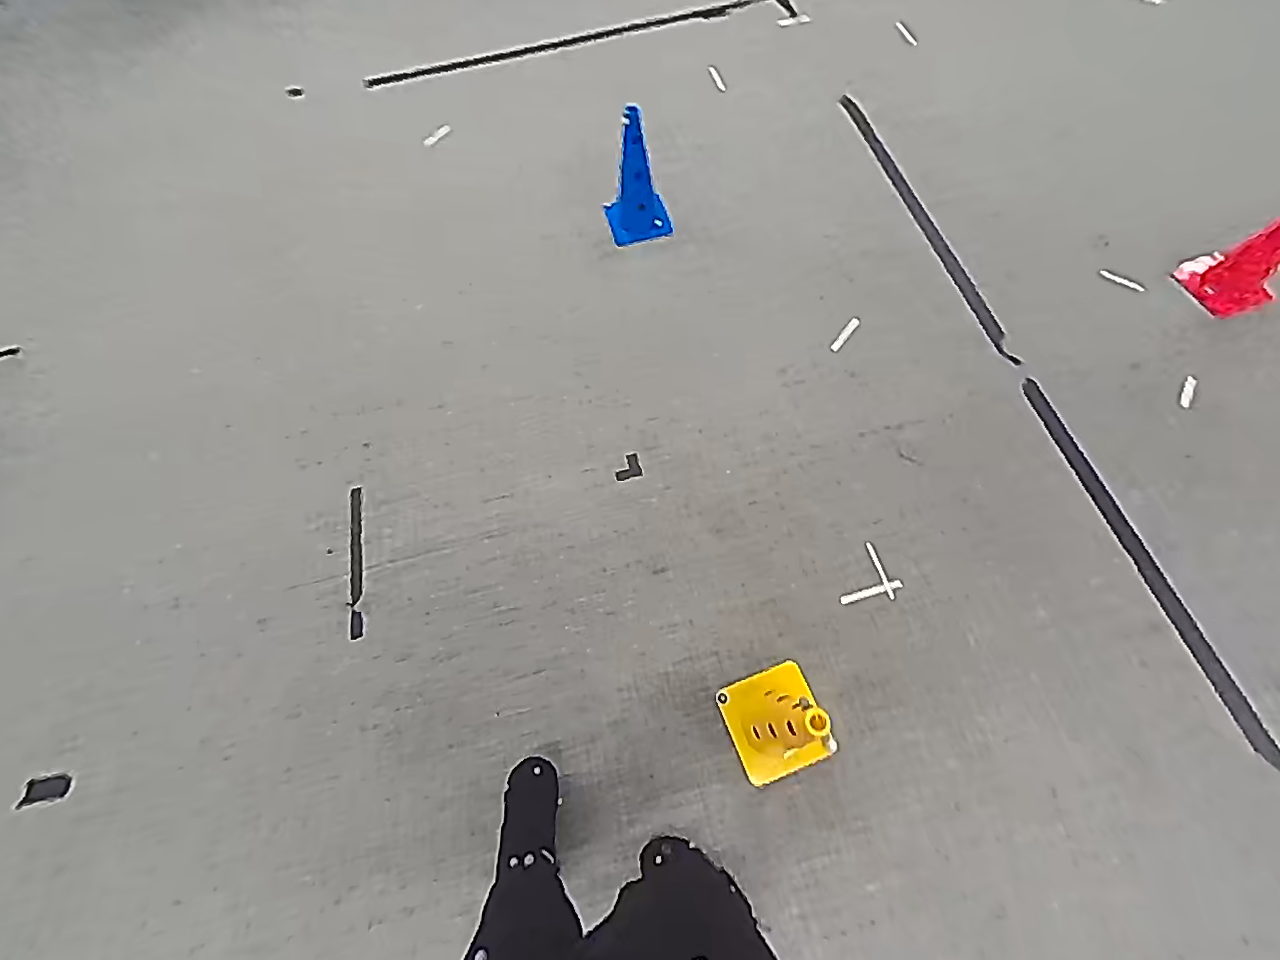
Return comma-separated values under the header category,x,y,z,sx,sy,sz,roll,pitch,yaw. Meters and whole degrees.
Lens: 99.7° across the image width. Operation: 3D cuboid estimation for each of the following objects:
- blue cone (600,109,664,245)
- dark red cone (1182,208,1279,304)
category,x,y,z,sx,sy,sz,roll,pitch,yaw
blue cone,-0.036,-0.928,1.639,0.192,0.380,0.193,-14,66,-2
dark red cone,1.689,-0.666,1.403,0.201,0.394,0.202,-22,67,-6
